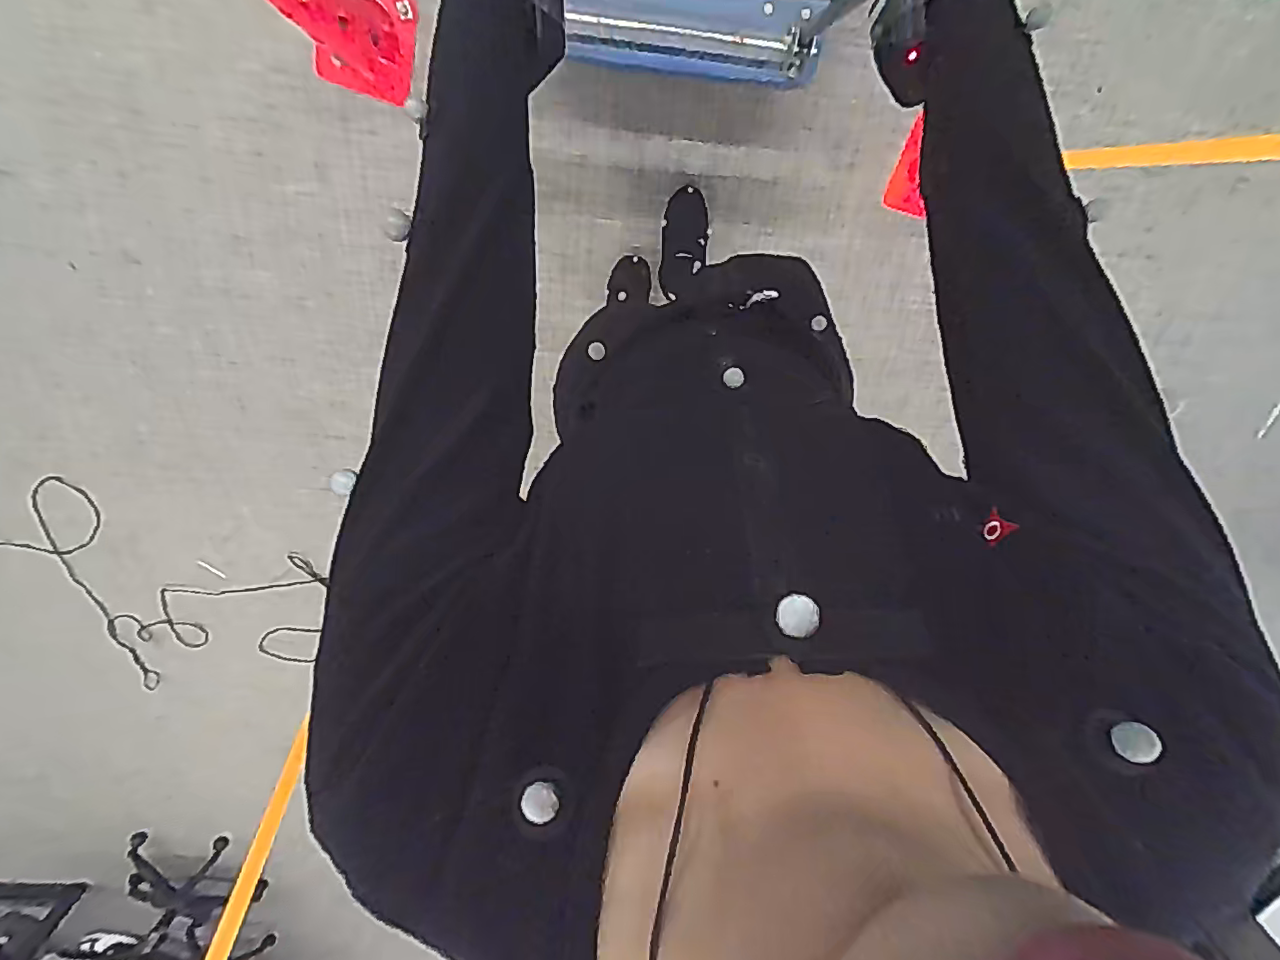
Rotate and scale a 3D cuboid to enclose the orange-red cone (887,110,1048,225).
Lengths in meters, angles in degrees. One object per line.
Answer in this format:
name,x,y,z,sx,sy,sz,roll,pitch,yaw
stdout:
orange-red cone,0.690,-0.634,1.088,0.198,0.360,0.199,15,117,-7
